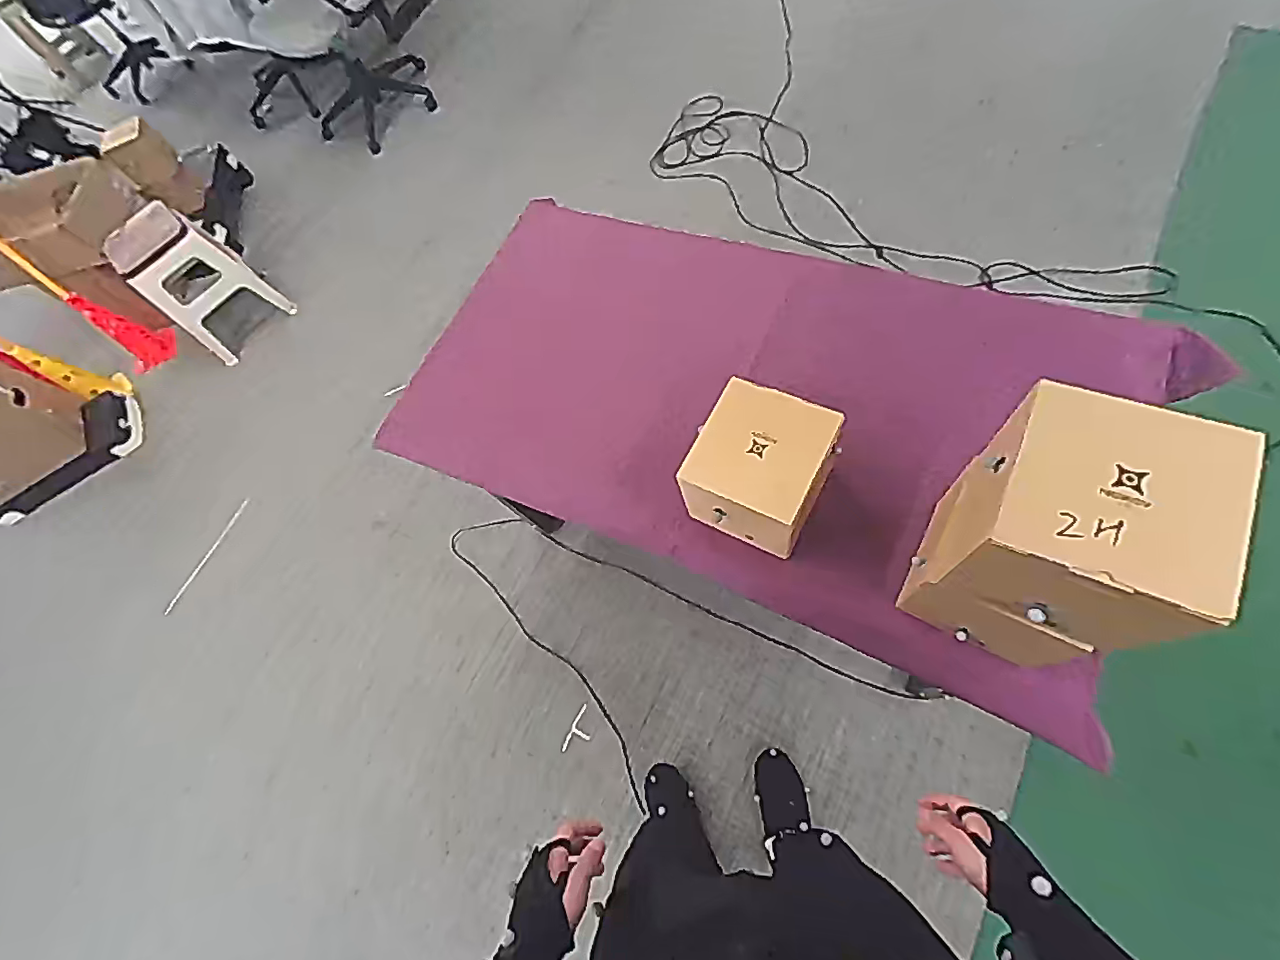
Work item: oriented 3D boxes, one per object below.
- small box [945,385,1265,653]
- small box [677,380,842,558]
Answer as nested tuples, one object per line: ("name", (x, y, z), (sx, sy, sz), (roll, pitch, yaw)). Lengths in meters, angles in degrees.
("small box", (0.422, 0.044, 0.521), (0.168, 0.176, 0.179), (23, 73, 22))
("small box", (0.176, -0.008, 0.789), (0.168, 0.176, 0.179), (24, 73, 22))
